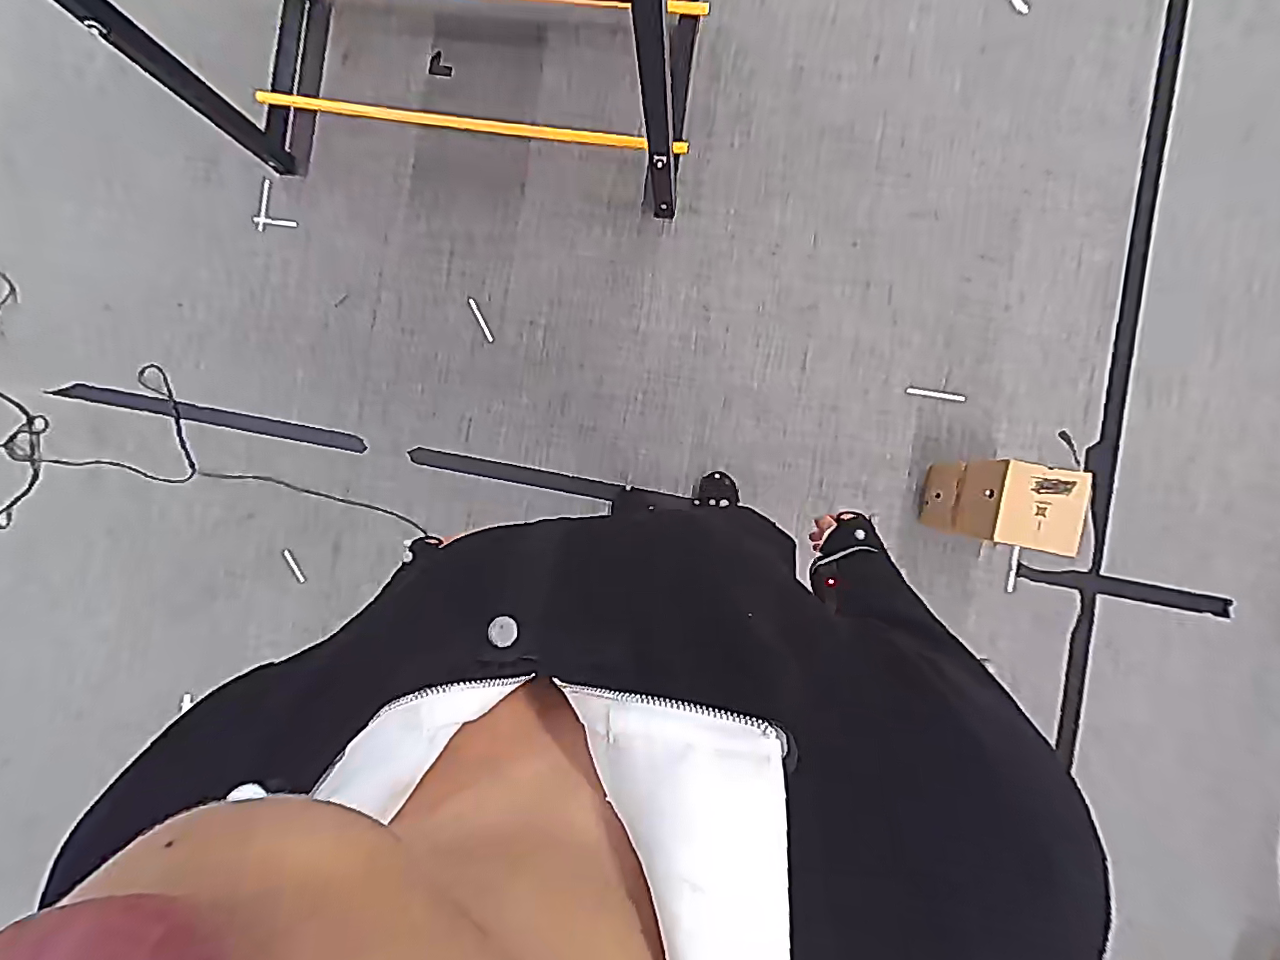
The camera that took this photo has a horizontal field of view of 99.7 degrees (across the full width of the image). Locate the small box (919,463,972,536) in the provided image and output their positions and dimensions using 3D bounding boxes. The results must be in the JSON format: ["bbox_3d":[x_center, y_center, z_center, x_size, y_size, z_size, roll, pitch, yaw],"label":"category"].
[{"bbox_3d":[0.827,0.060,1.348,0.179,0.176,0.168,12,90,5],"label":"small box"}]

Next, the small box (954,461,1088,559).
[{"bbox_3d":[0.820,0.061,1.182,0.168,0.176,0.179,11,91,4],"label":"small box"}]
